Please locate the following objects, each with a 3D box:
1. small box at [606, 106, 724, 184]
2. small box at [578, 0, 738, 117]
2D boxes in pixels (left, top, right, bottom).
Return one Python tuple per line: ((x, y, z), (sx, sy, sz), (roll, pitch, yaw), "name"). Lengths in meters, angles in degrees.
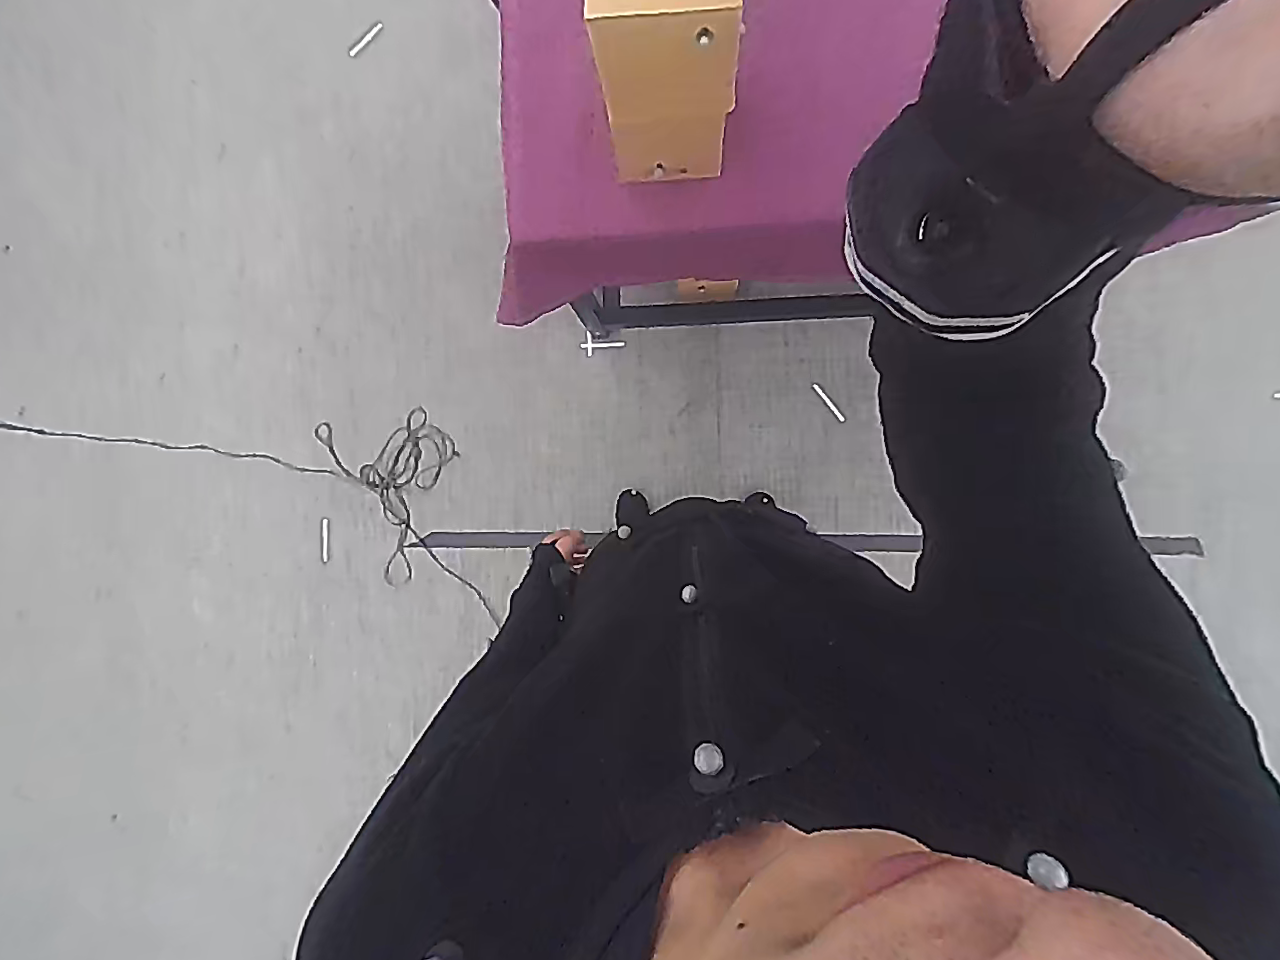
((0.042, -0.586, 0.826), (0.168, 0.176, 0.179), (0, 91, 6), "small box")
((0.029, -0.580, 0.664), (0.179, 0.176, 0.168), (1, 90, 6), "small box")
